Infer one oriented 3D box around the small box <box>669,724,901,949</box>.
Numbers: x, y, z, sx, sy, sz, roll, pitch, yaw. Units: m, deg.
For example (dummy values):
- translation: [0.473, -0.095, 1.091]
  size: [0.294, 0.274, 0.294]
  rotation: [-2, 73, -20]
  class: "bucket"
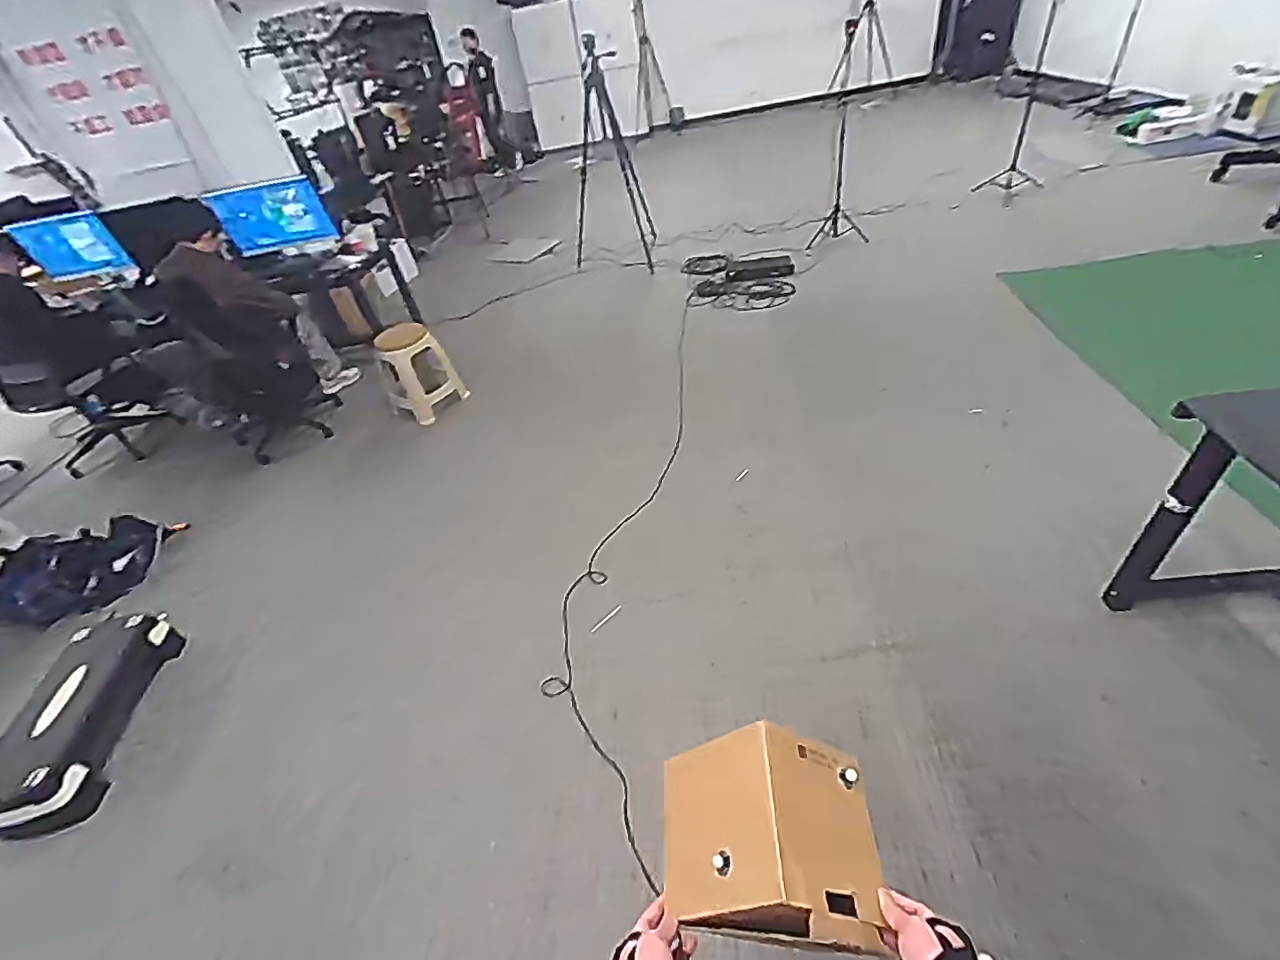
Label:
- translation: [0.145, 0.397, 0.603]
  size: [0.179, 0.168, 0.176]
  rotation: [-42, 28, 33]
  class: "small box"
